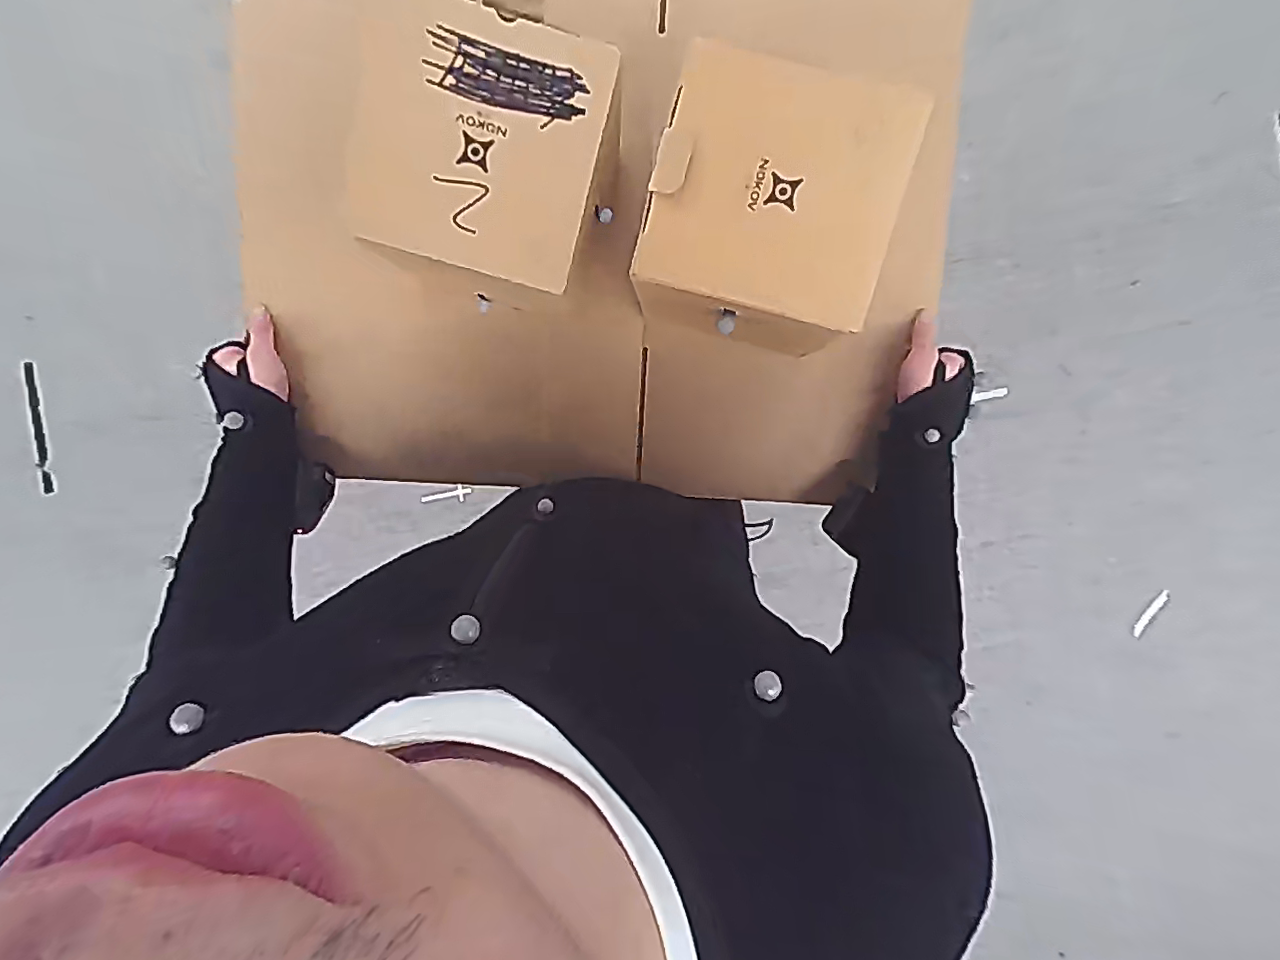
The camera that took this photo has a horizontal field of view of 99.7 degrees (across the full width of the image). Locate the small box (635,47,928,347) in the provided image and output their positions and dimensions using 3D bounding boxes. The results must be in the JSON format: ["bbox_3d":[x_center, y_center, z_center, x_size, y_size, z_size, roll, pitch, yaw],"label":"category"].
[{"bbox_3d":[0.107,-0.222,0.476,0.179,0.176,0.168,16,99,3],"label":"small box"}]
